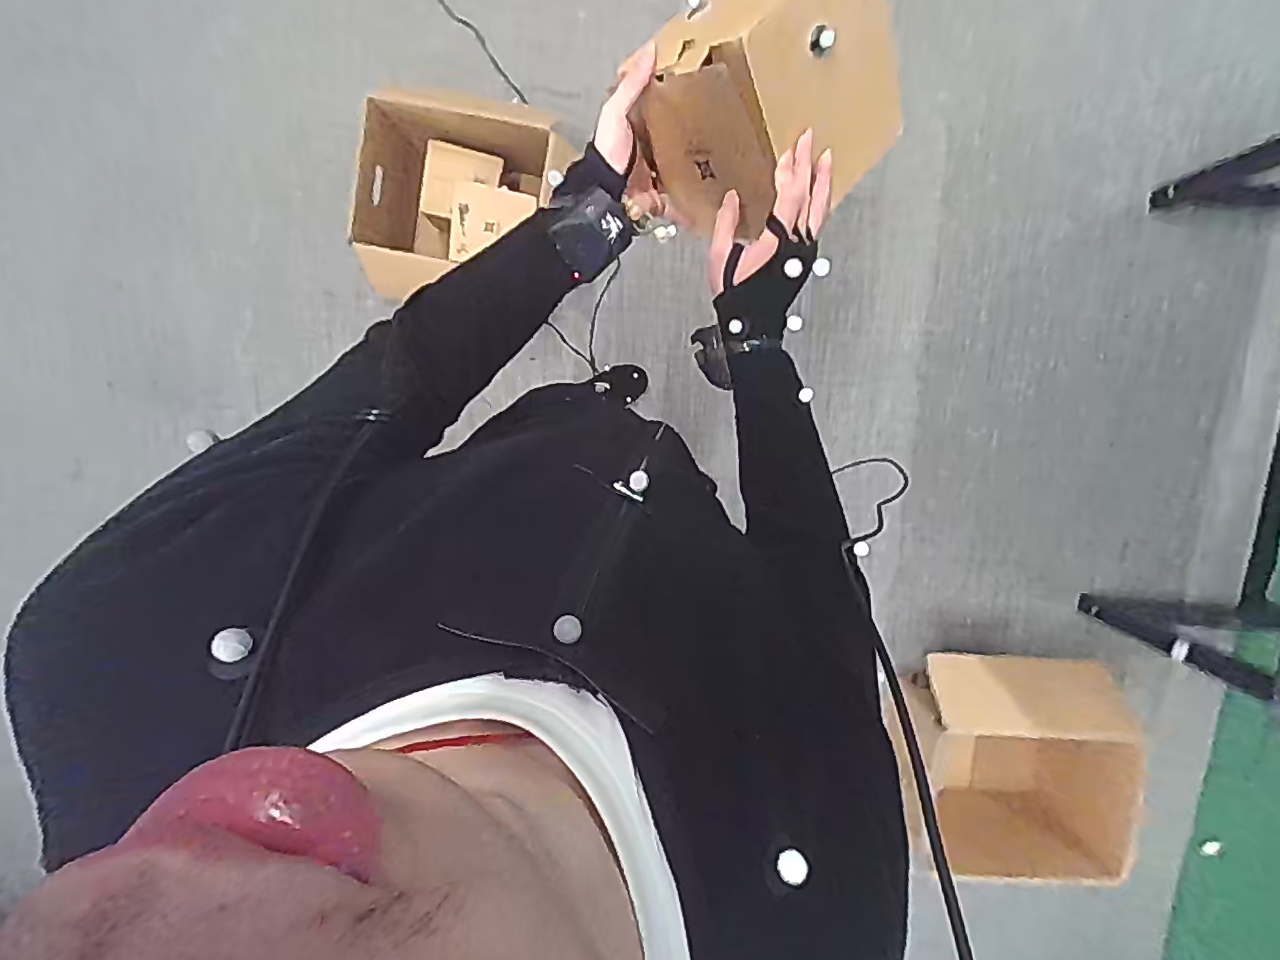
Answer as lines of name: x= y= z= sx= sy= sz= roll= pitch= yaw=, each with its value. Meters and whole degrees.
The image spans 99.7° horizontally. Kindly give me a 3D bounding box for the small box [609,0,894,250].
small box: x=0.110 y=-0.350 z=0.512 sx=0.176 sy=0.168 sz=0.179 roll=-49 pitch=133 yaw=-8
